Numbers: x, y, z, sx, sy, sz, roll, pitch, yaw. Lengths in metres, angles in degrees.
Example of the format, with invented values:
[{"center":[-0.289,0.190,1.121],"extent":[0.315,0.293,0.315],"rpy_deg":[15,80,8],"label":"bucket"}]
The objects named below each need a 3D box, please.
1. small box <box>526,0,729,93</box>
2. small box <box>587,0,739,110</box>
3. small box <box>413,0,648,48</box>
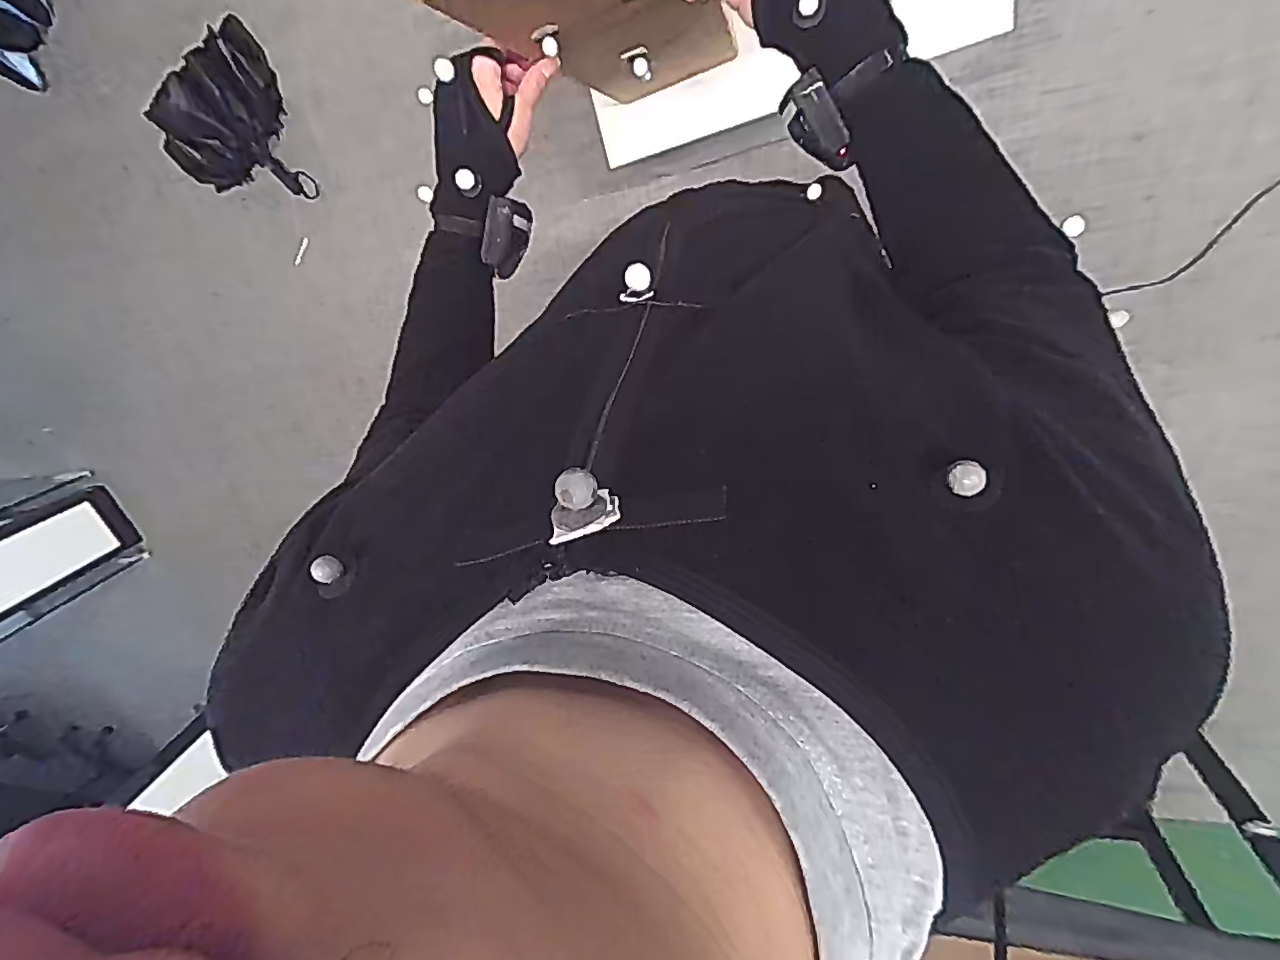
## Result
[{"center":[-0.026,-0.486,0.482],"extent":[0.168,0.176,0.179],"rpy_deg":[-11,114,22],"label":"small box"},{"center":[0.013,-0.562,0.621],"extent":[0.168,0.176,0.179],"rpy_deg":[-9,114,20],"label":"small box"},{"center":[-0.067,-0.412,0.340],"extent":[0.168,0.176,0.179],"rpy_deg":[-10,112,21],"label":"small box"}]
